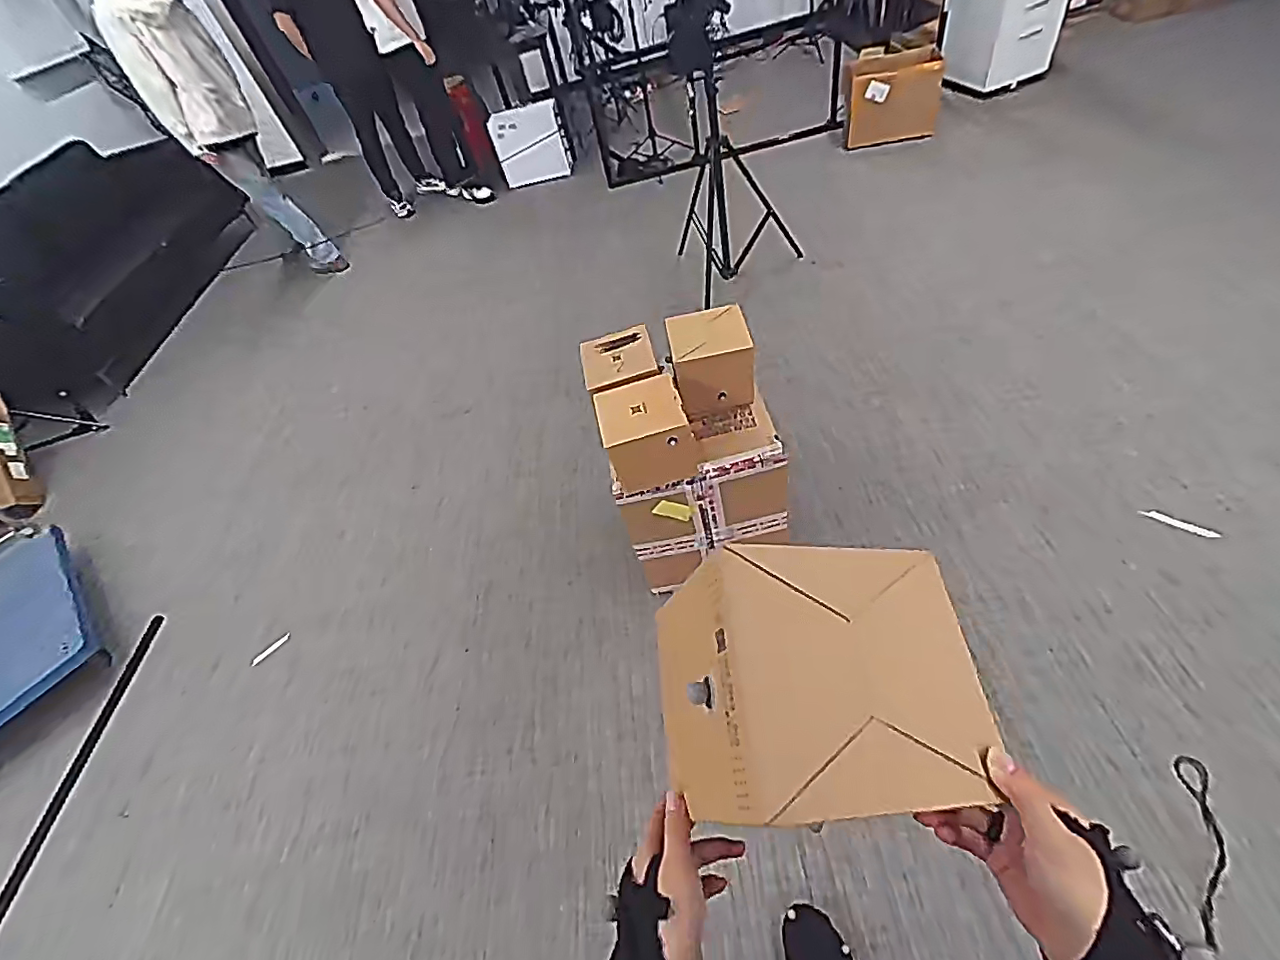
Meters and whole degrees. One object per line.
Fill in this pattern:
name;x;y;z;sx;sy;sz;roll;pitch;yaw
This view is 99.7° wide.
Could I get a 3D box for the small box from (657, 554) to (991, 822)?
small box;0.125;0.166;0.427;0.179;0.176;0.168;4;59;-15
